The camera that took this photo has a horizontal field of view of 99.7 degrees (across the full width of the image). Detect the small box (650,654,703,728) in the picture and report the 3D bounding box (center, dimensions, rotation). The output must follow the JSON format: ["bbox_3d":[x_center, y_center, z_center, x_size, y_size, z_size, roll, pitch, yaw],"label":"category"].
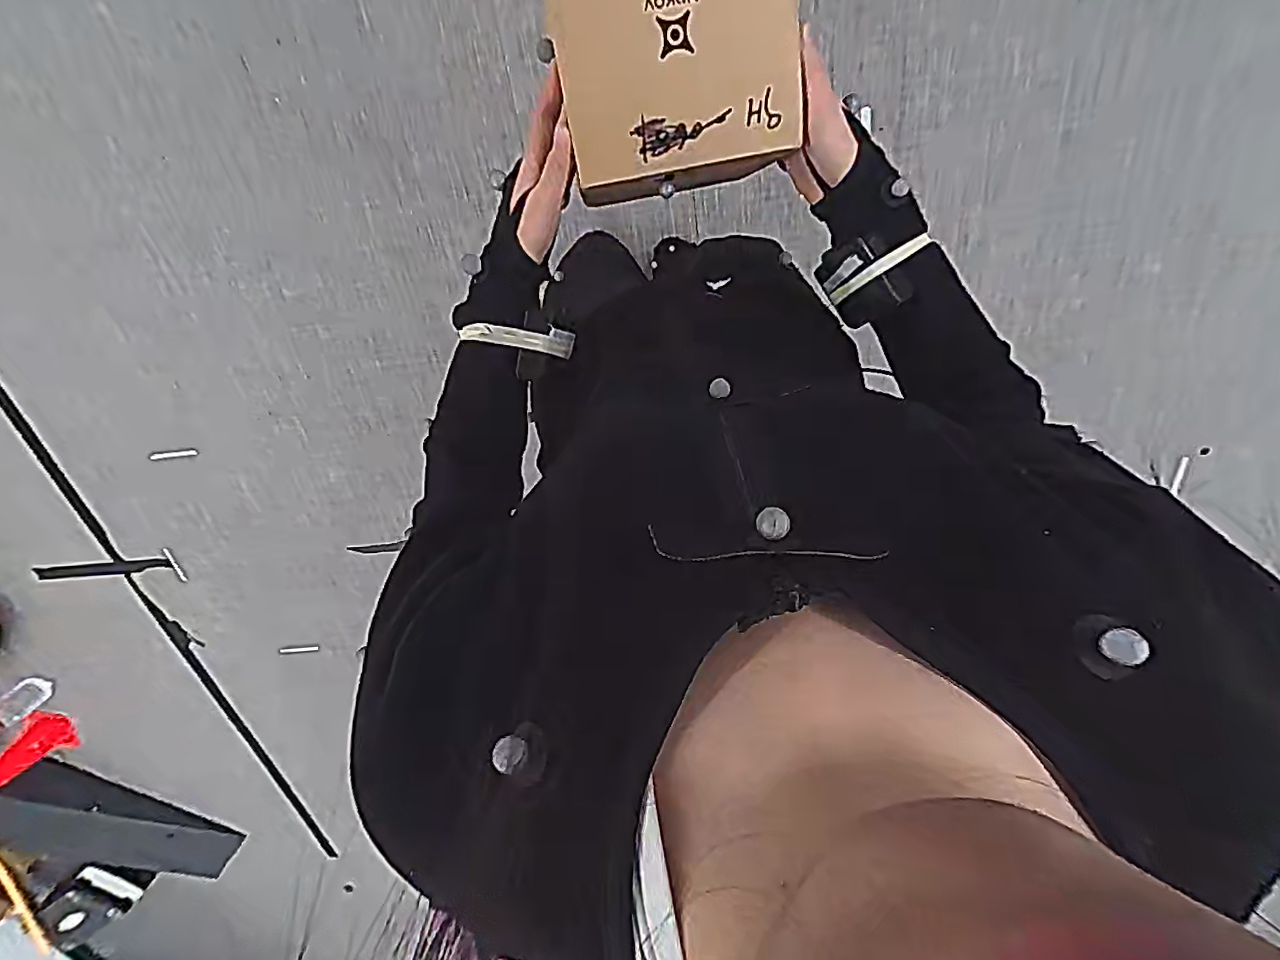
[{"bbox_3d":[0.129,0.738,1.892,0.168,0.176,0.179,-7,116,6],"label":"small box"}]

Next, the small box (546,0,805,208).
[{"bbox_3d":[0.018,-0.331,0.428,0.168,0.176,0.179,-11,113,0],"label":"small box"}]
